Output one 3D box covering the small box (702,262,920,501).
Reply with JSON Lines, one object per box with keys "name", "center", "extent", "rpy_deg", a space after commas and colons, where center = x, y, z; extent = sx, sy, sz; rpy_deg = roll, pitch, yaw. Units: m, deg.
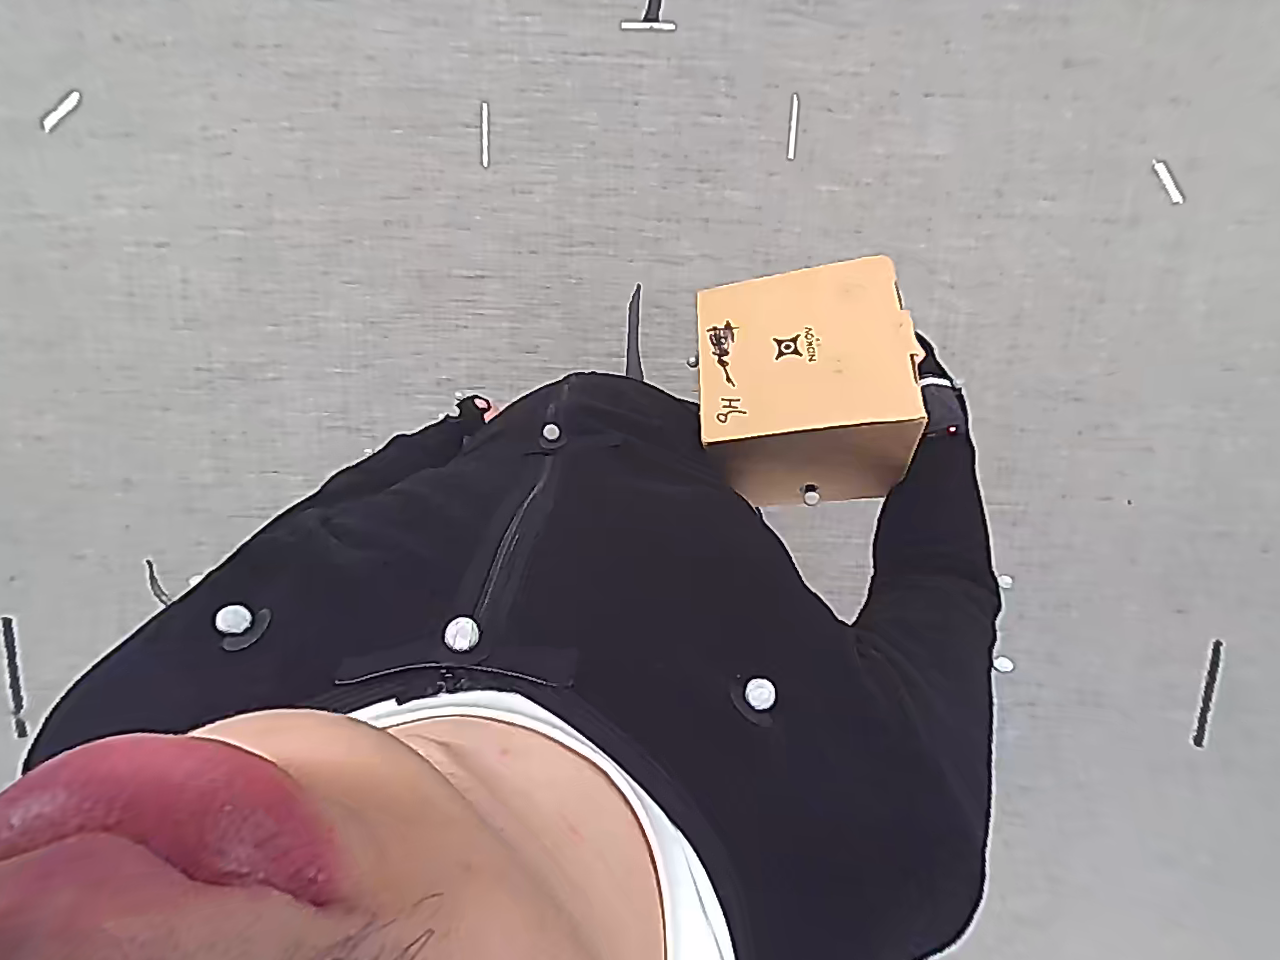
{"name": "small box", "center": [0.162, -0.086, 0.551], "extent": [0.179, 0.176, 0.168], "rpy_deg": [-5, 65, 14]}
